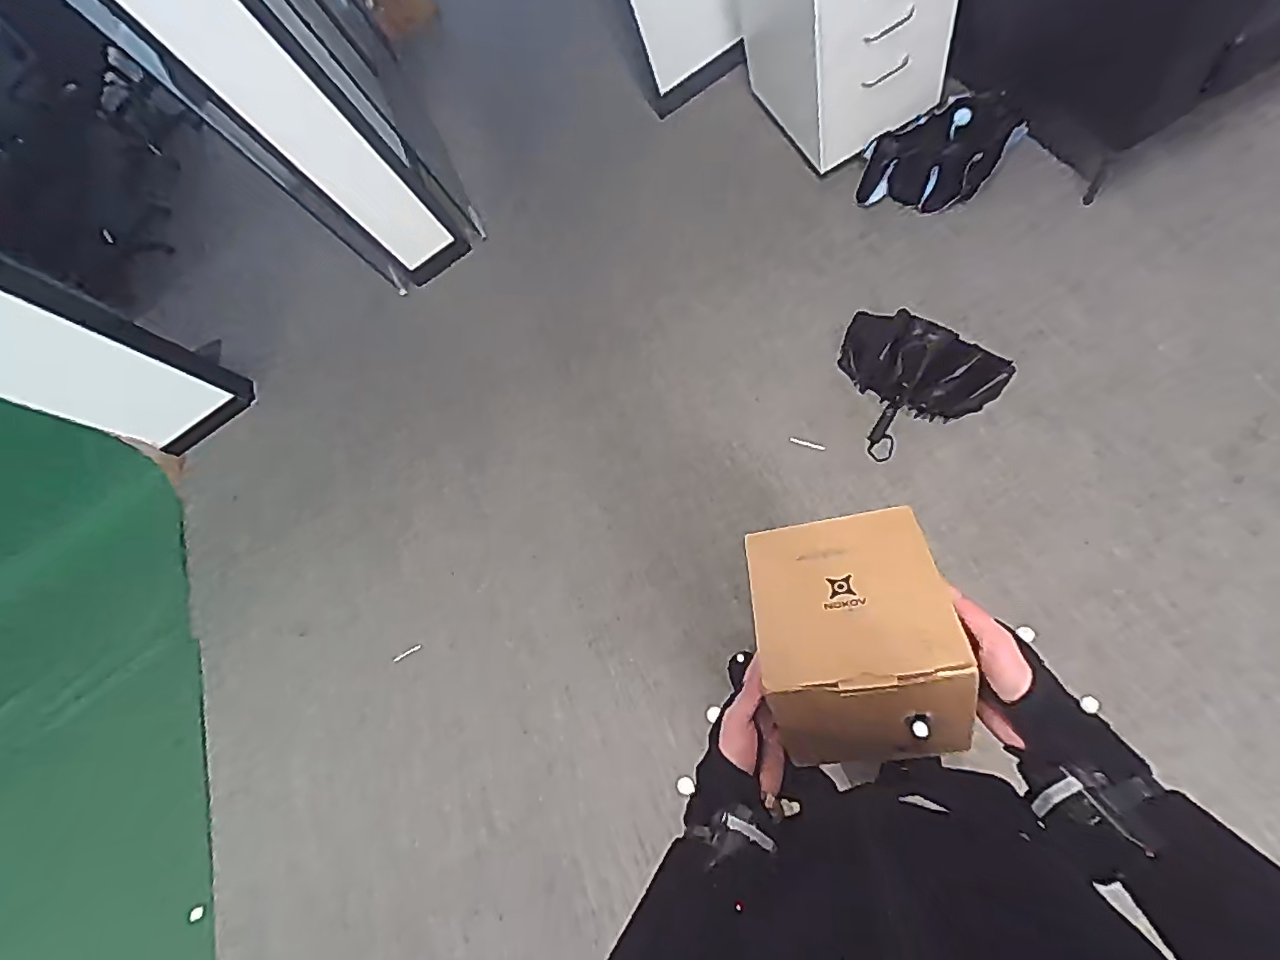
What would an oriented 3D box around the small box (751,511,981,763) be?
[{"bbox_3d":[0.215,0.162,0.538,0.168,0.176,0.179,-13,39,15],"label":"small box"}]
